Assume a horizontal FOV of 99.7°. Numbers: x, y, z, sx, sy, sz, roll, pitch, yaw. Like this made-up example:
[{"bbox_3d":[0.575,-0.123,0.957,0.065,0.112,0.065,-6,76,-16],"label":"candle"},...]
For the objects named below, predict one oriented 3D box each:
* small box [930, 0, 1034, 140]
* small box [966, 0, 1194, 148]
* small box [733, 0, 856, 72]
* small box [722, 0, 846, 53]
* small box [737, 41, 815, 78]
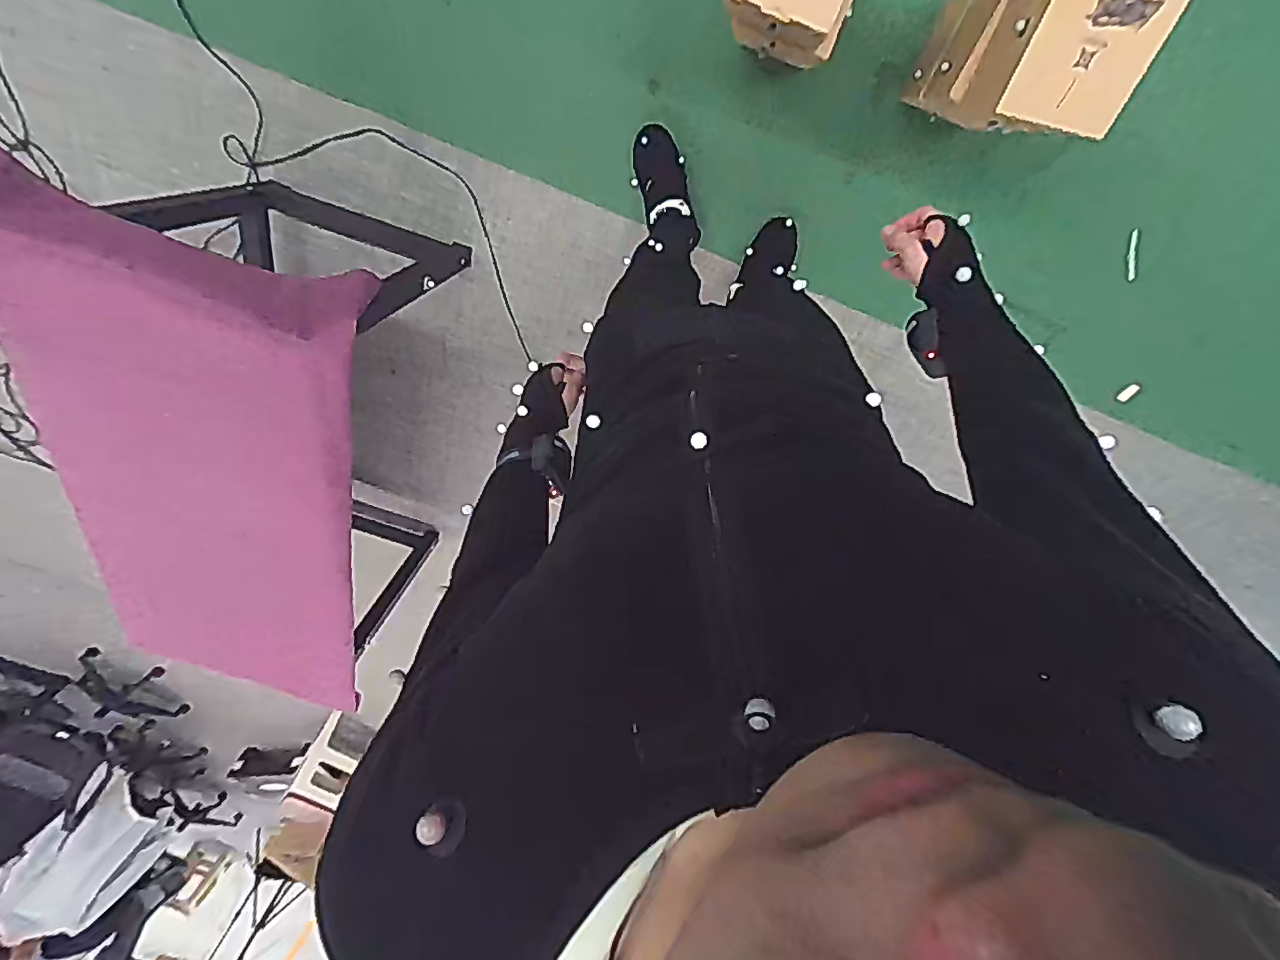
[{"bbox_3d":[0.633,-0.715,0.931,0.168,0.176,0.179,19,125,-4],"label":"small box"},{"bbox_3d":[0.623,-0.618,0.800,0.168,0.176,0.179,15,127,0],"label":"small box"},{"bbox_3d":[0.271,-0.825,0.925,0.179,0.176,0.168,19,125,-3],"label":"small box"},{"bbox_3d":[0.232,-0.753,0.781,0.168,0.176,0.179,21,125,-2],"label":"small box"},{"bbox_3d":[0.301,-0.918,1.057,0.168,0.176,0.179,20,124,-2],"label":"small box"}]
